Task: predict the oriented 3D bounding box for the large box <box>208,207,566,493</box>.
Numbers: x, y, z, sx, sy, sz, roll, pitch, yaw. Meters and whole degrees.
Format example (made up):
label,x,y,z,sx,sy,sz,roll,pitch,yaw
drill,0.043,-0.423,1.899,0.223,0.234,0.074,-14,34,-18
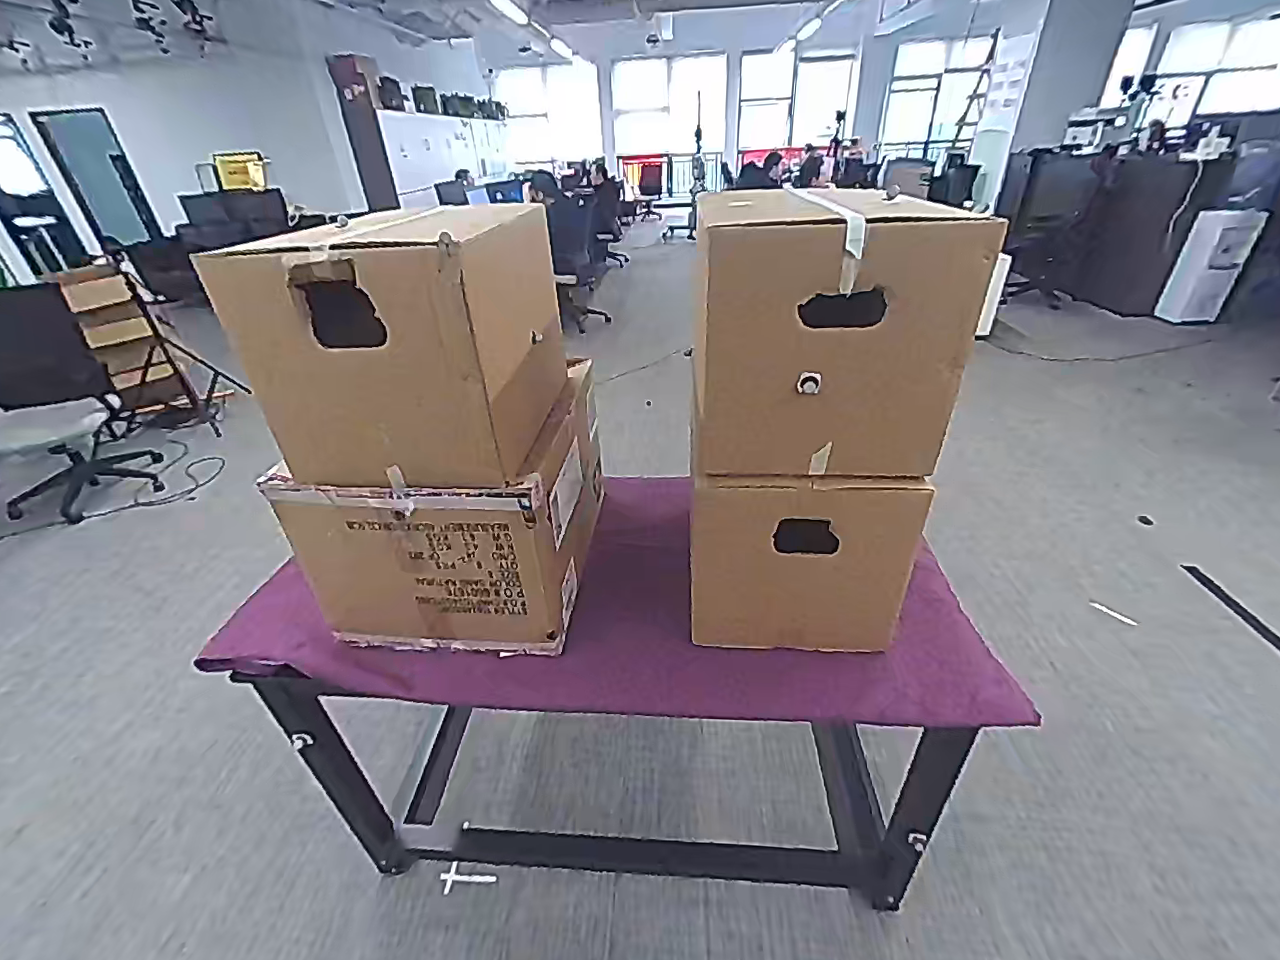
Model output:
label,x,y,z,sx,sy,sz,roll,pitch,yaw
large box,-0.309,-0.218,0.826,0.320,0.320,0.408,-2,33,5
